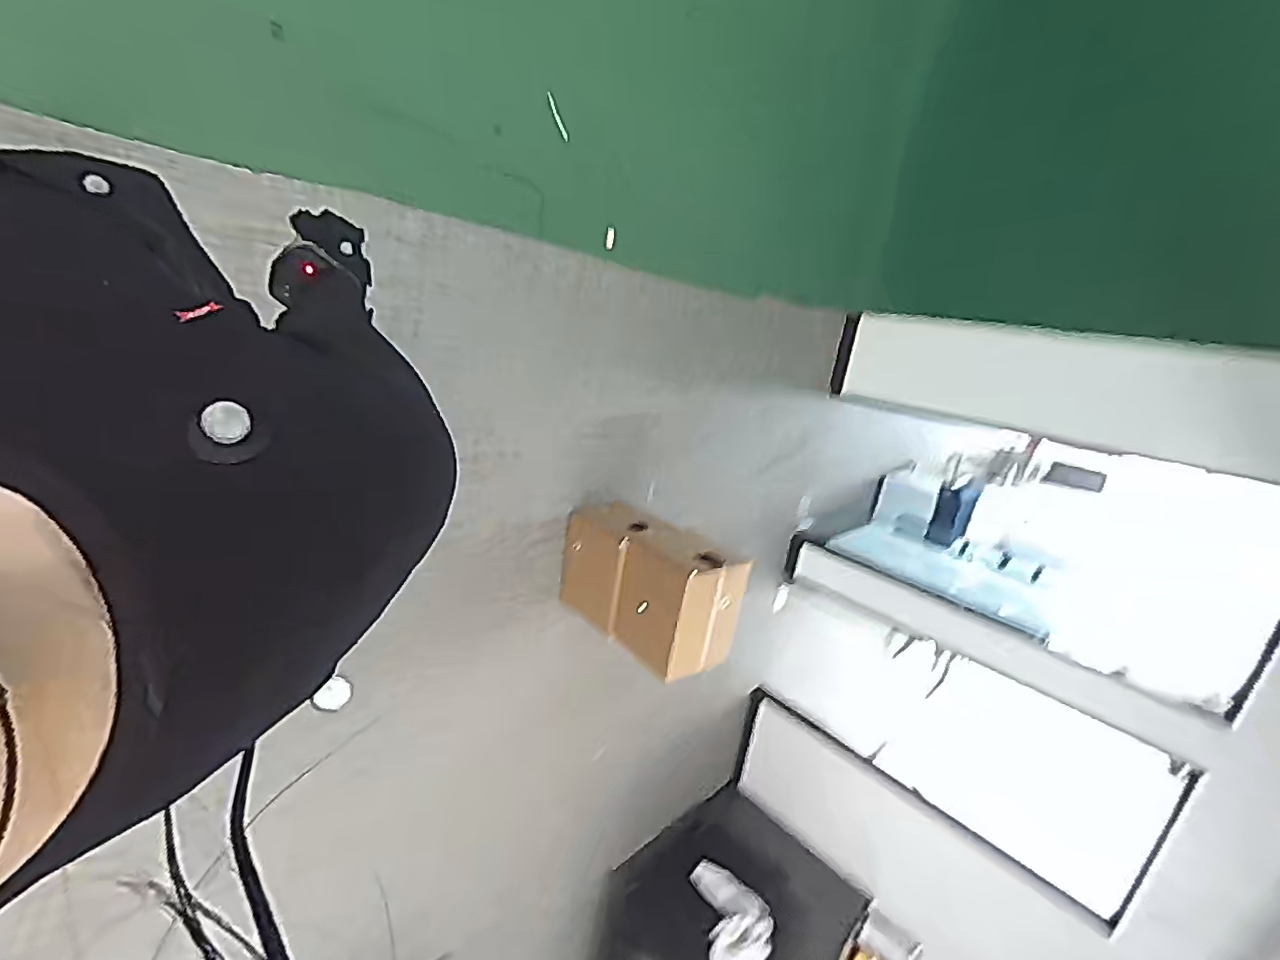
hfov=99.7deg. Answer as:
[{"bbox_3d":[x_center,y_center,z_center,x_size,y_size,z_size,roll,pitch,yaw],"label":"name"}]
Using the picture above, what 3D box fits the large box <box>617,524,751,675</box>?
[{"bbox_3d":[0.145,0.407,1.930,0.320,0.320,0.408,-4,110,-40],"label":"large box"}]
